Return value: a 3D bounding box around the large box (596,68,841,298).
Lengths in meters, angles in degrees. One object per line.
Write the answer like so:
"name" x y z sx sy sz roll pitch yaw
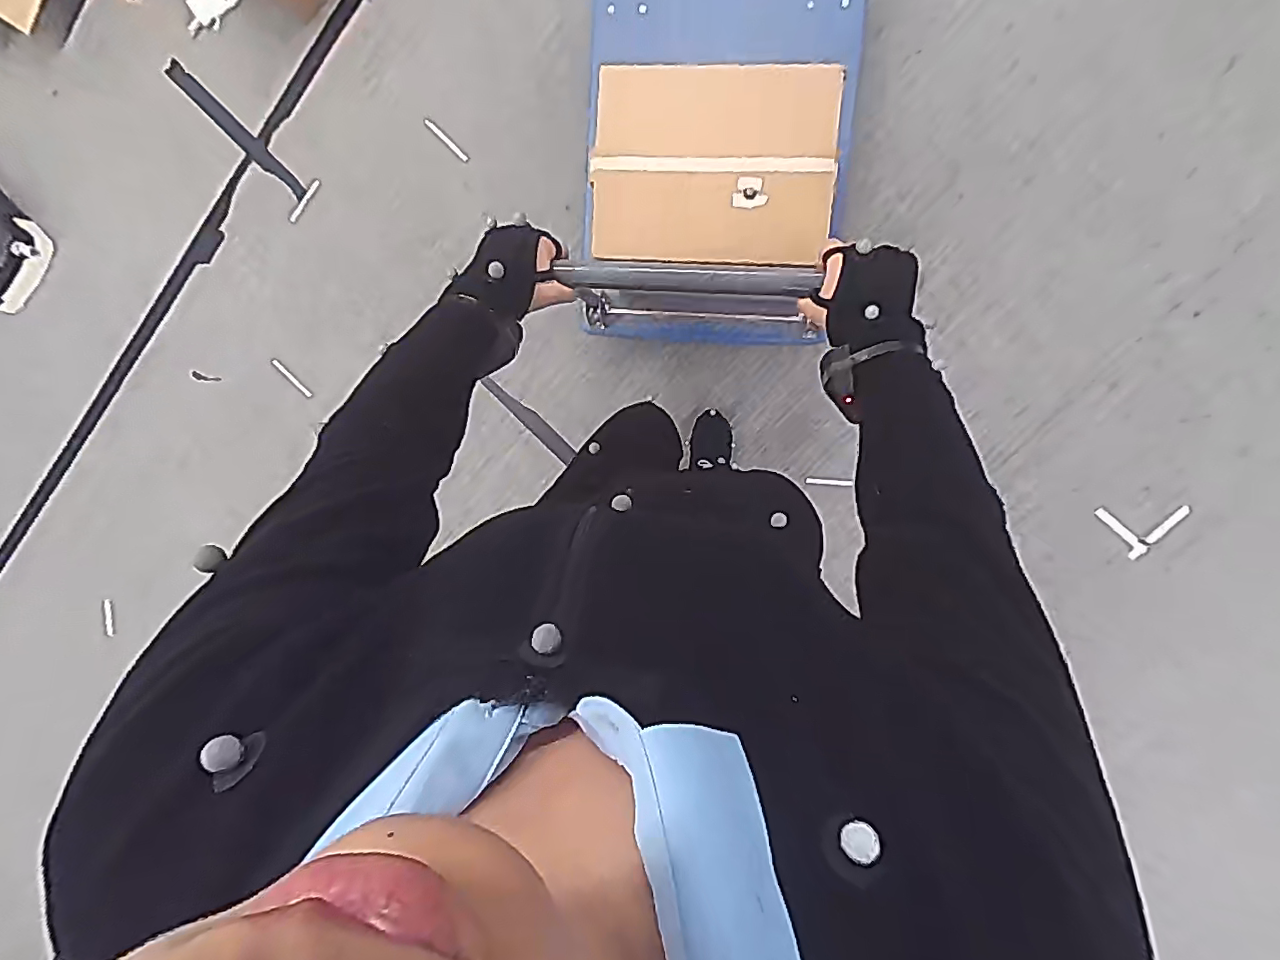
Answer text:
"large box" 0.138 -0.550 1.065 0.408 0.320 0.320 4 99 5
